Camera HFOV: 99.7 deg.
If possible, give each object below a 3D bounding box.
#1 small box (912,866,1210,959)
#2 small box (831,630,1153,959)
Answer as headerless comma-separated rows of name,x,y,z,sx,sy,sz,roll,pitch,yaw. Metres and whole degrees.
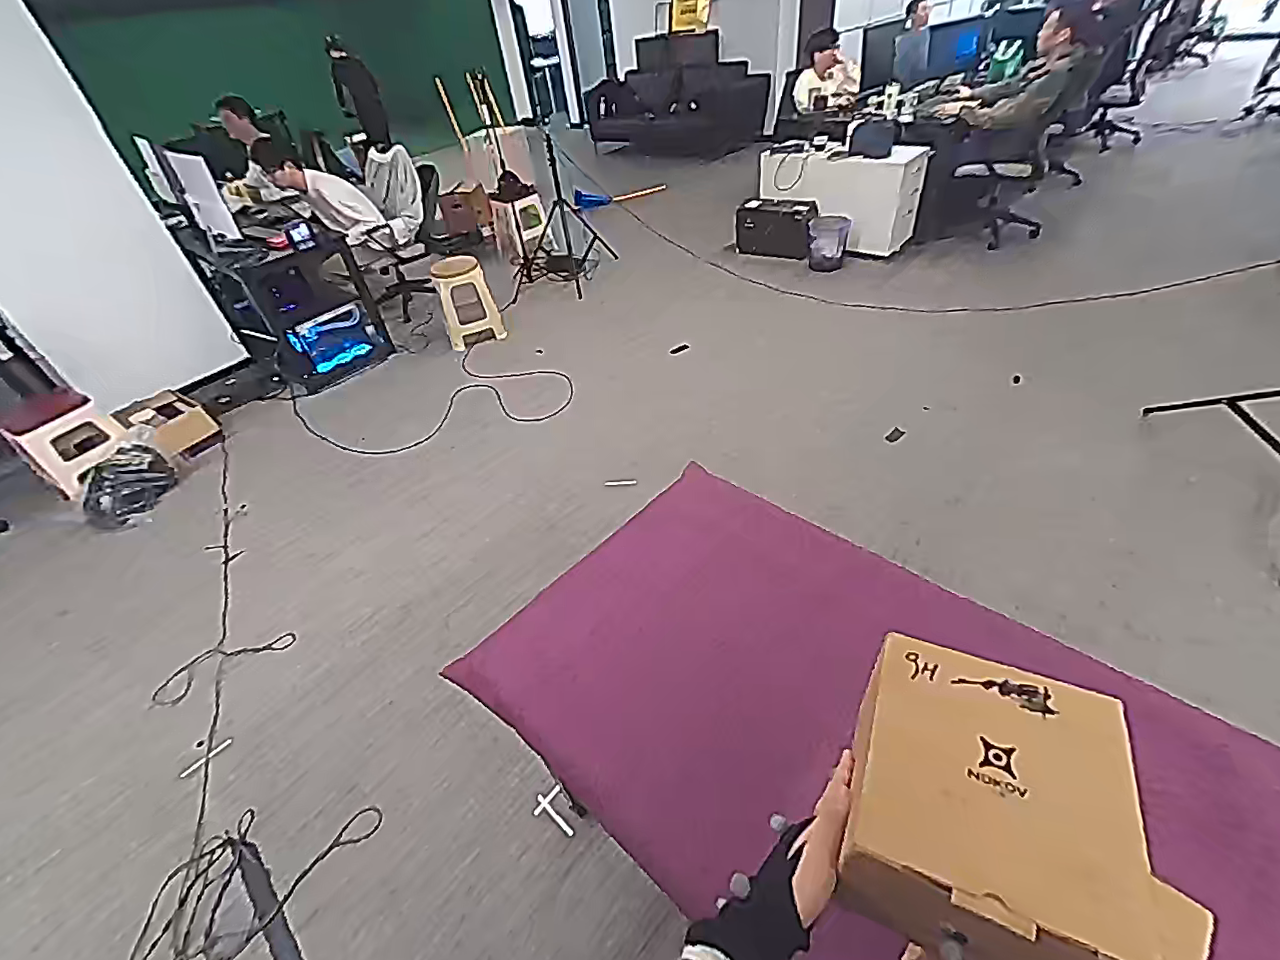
small box,0.388,0.447,0.526,0.168,0.176,0.179,29,53,34
small box,0.259,0.260,0.436,0.168,0.176,0.179,14,48,22
